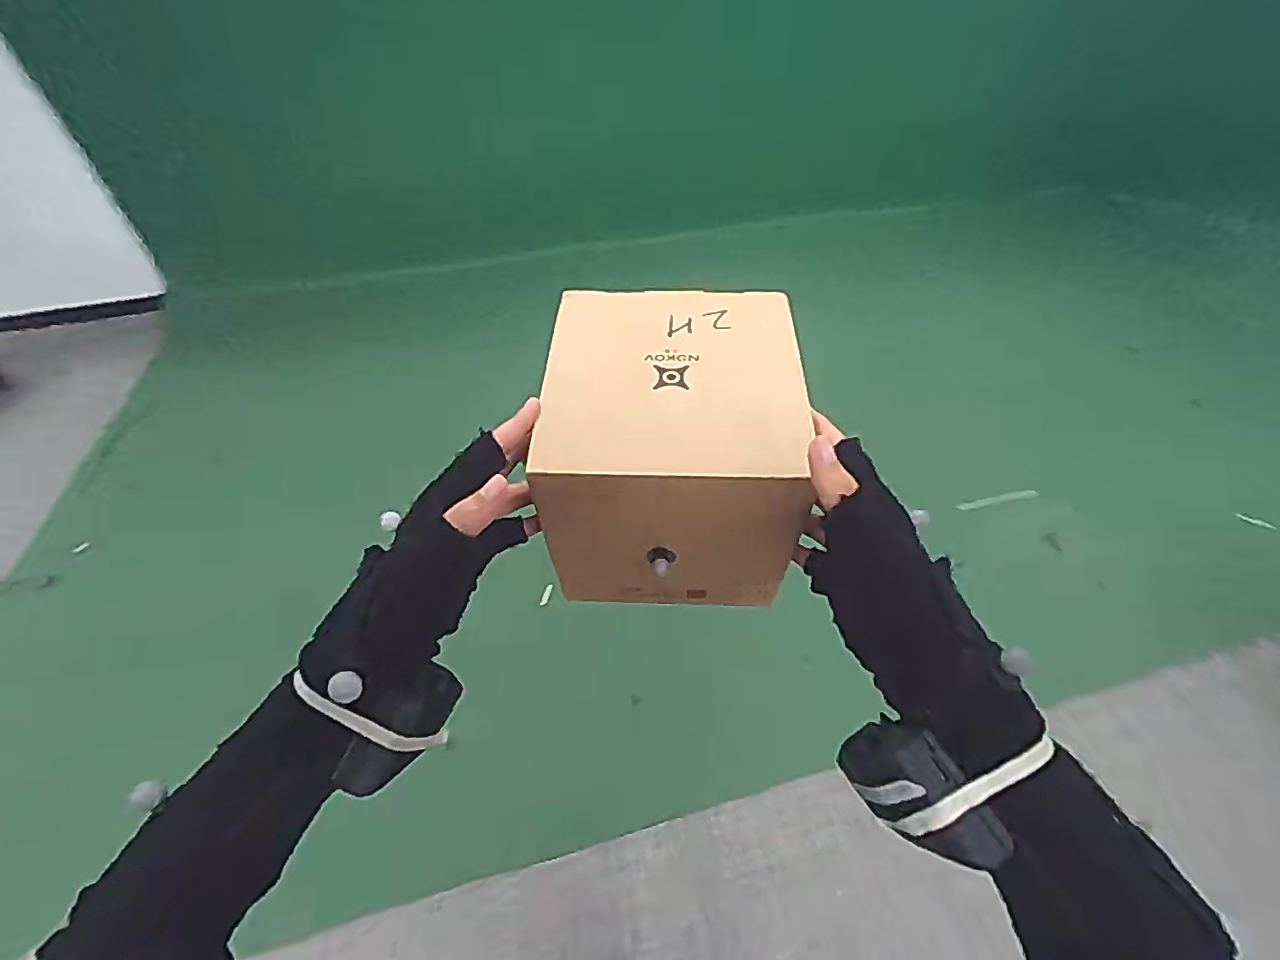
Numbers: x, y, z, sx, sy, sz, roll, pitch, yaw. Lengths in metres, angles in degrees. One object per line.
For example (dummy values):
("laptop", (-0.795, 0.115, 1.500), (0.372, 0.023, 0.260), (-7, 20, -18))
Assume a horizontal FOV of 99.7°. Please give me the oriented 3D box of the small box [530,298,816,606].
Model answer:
("small box", (0.026, -0.017, 0.415), (0.168, 0.176, 0.179), (2, 52, 3))
